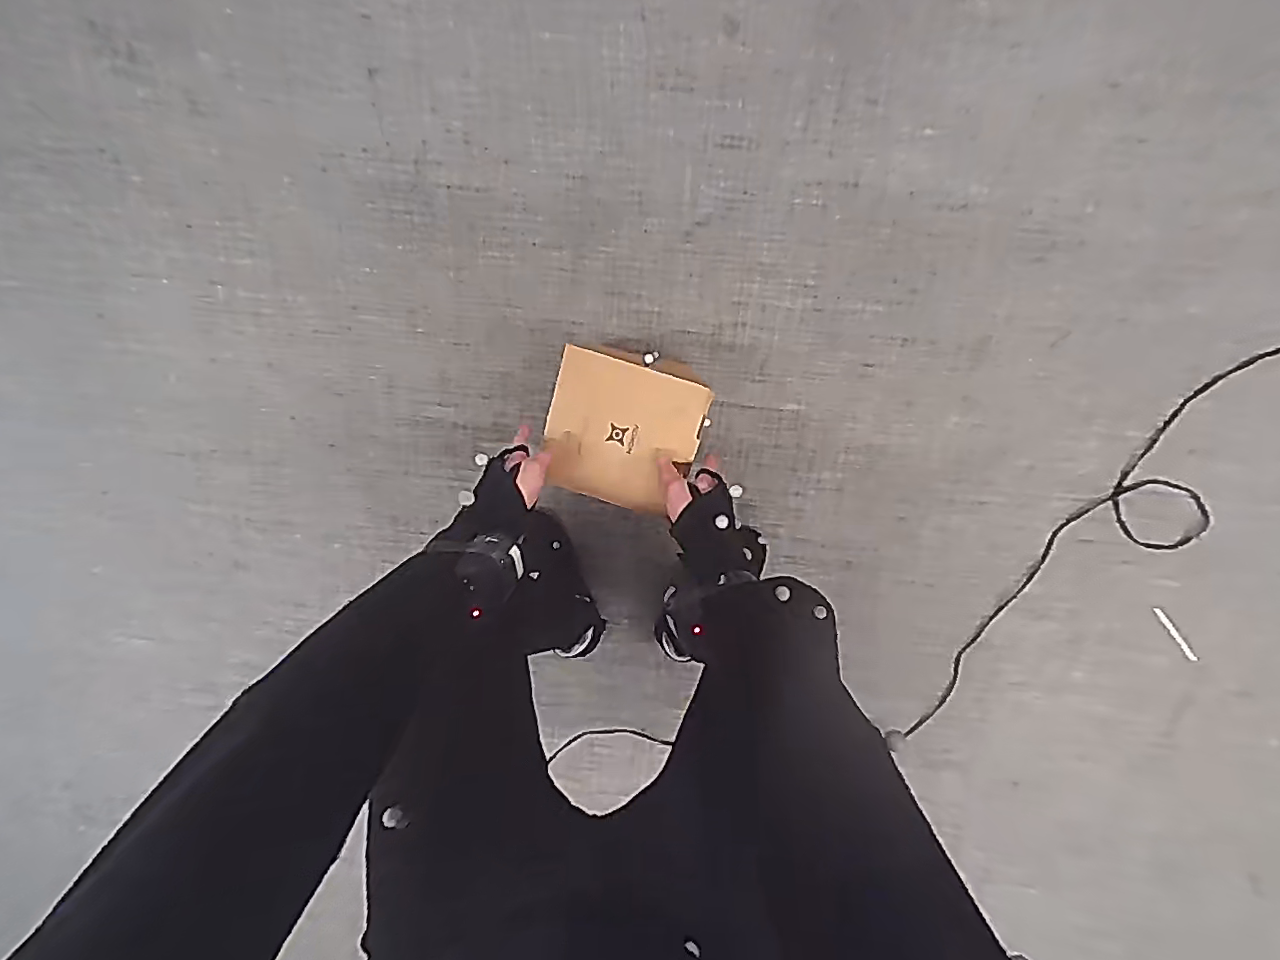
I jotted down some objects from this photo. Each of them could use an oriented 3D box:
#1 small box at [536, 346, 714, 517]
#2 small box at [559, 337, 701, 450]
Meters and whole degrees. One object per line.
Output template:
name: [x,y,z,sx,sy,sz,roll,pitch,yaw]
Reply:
small box: [-0.014,-0.073,0.711,0.179,0.176,0.168,18,104,1]
small box: [-0.004,-0.118,0.859,0.179,0.176,0.168,-16,101,10]
